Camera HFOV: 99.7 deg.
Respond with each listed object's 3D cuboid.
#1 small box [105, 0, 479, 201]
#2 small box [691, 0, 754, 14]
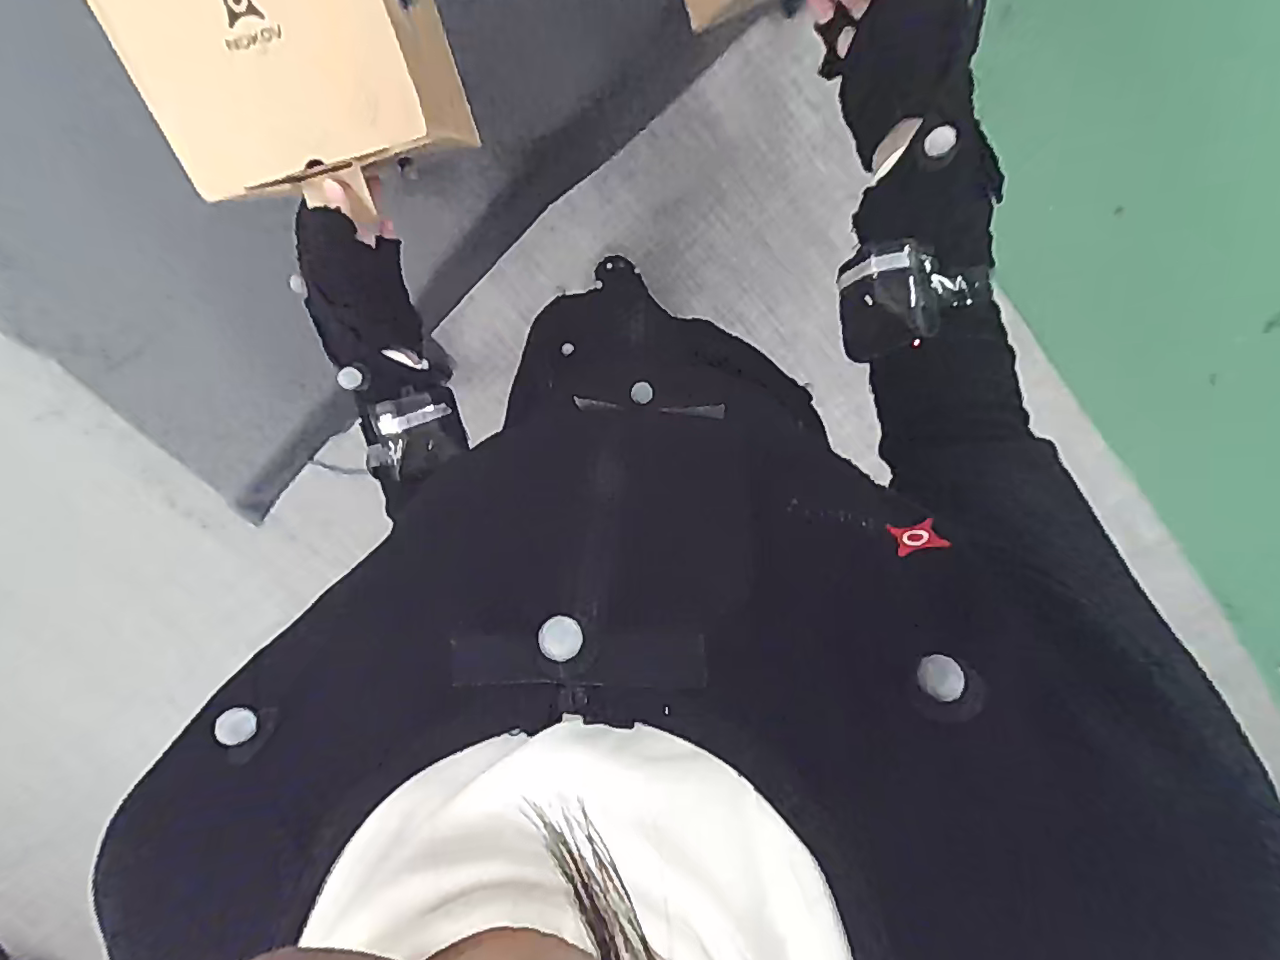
[{"bbox_3d":[-0.236,-0.325,0.395,0.168,0.176,0.179,-13,120,4],"label":"small box"},{"bbox_3d":[0.099,-0.427,0.331,0.168,0.176,0.179,-23,123,4],"label":"small box"}]
